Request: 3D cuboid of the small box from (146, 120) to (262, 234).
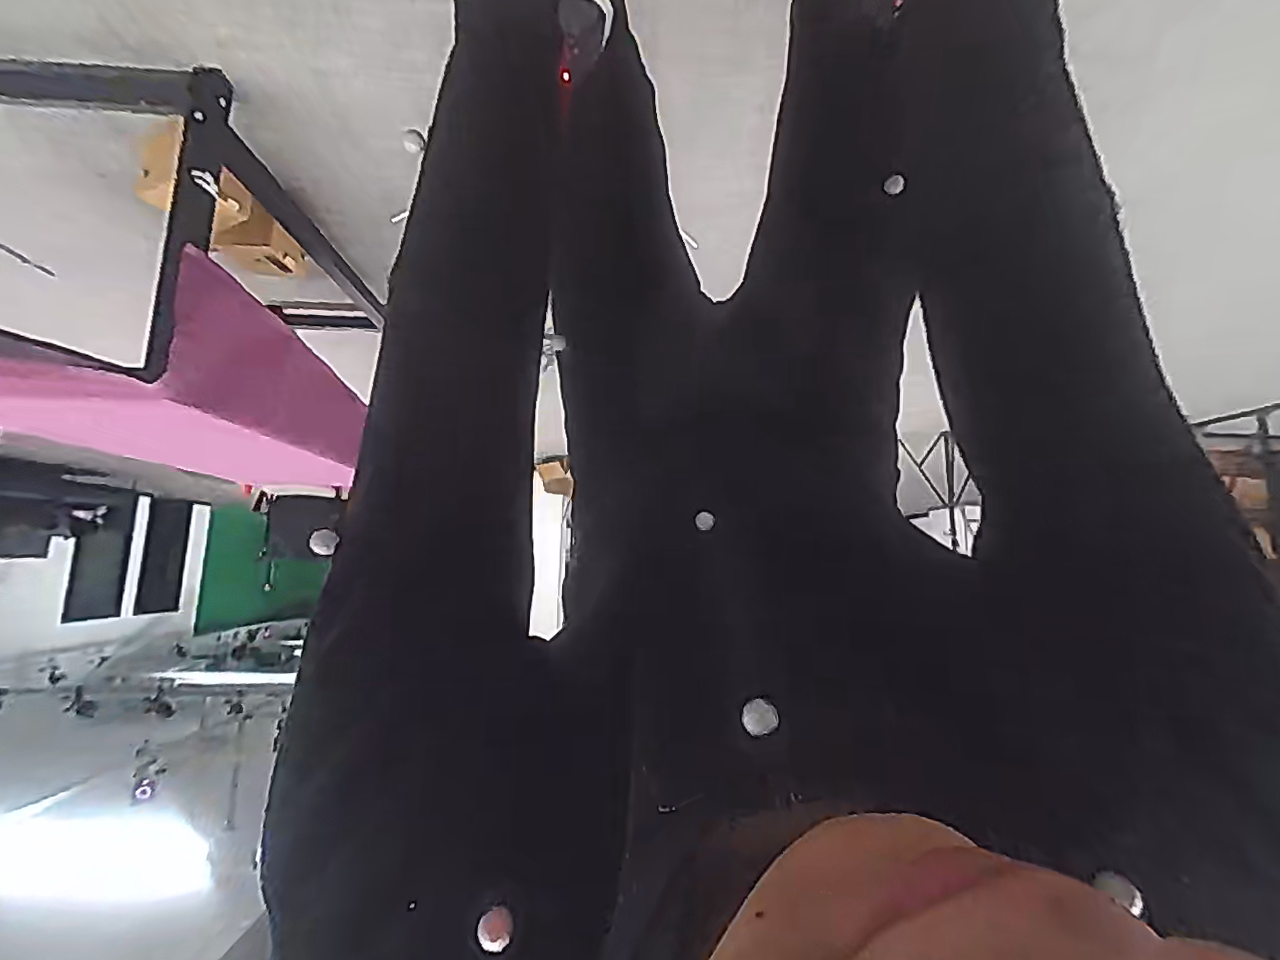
[{"bbox_3d":[-1.096,-0.761,1.369,0.179,0.176,0.168,-2,171,25],"label":"small box"}]
